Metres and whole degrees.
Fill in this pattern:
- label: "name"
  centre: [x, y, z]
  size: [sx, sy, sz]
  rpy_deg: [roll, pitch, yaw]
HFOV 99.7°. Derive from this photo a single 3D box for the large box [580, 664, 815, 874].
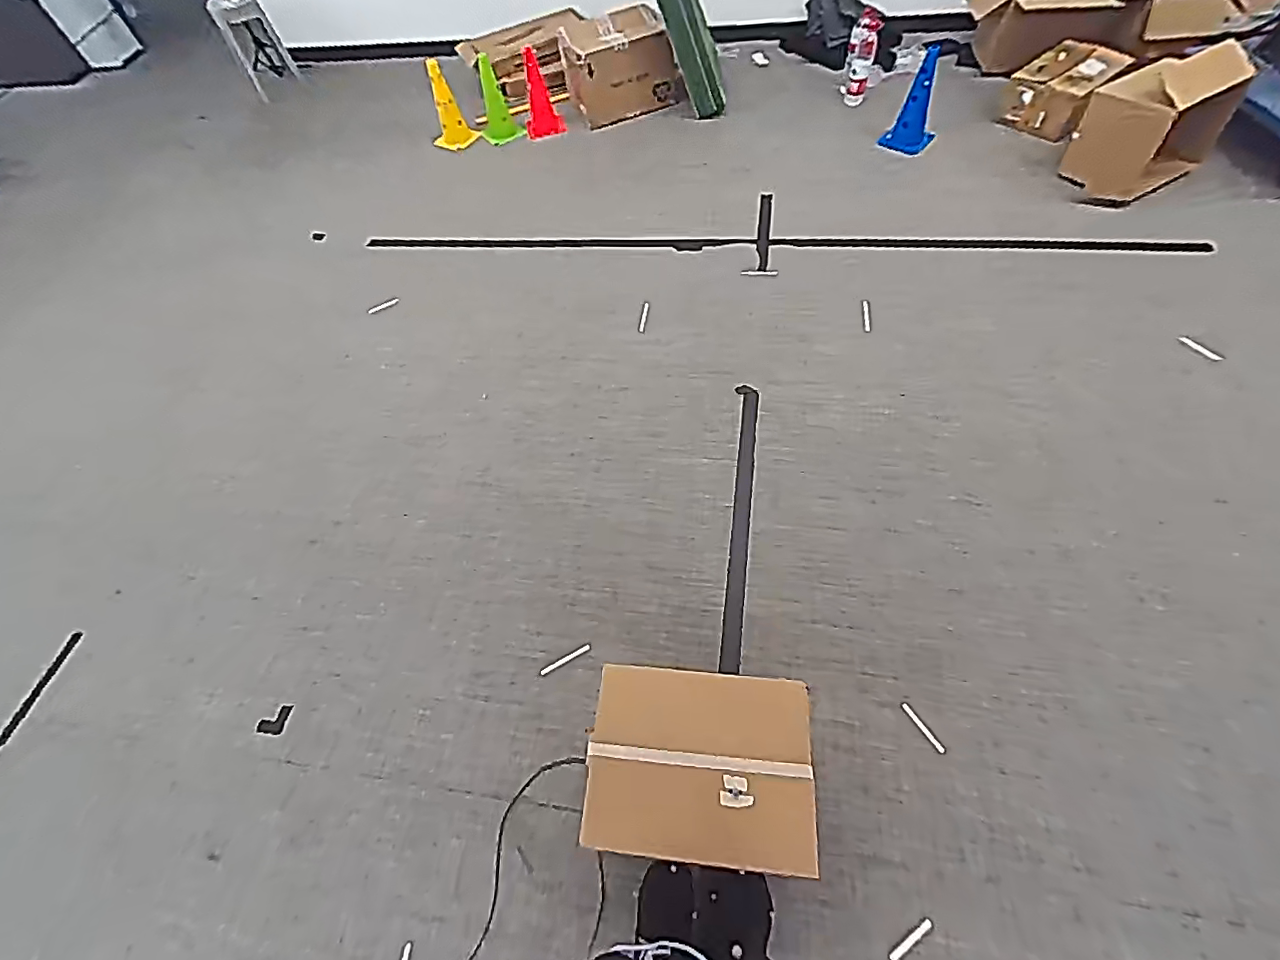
- label: "large box"
  centre: [0.114, 0.588, 1.111]
  size: [0.408, 0.320, 0.320]
  rpy_deg: [3, 59, 7]
